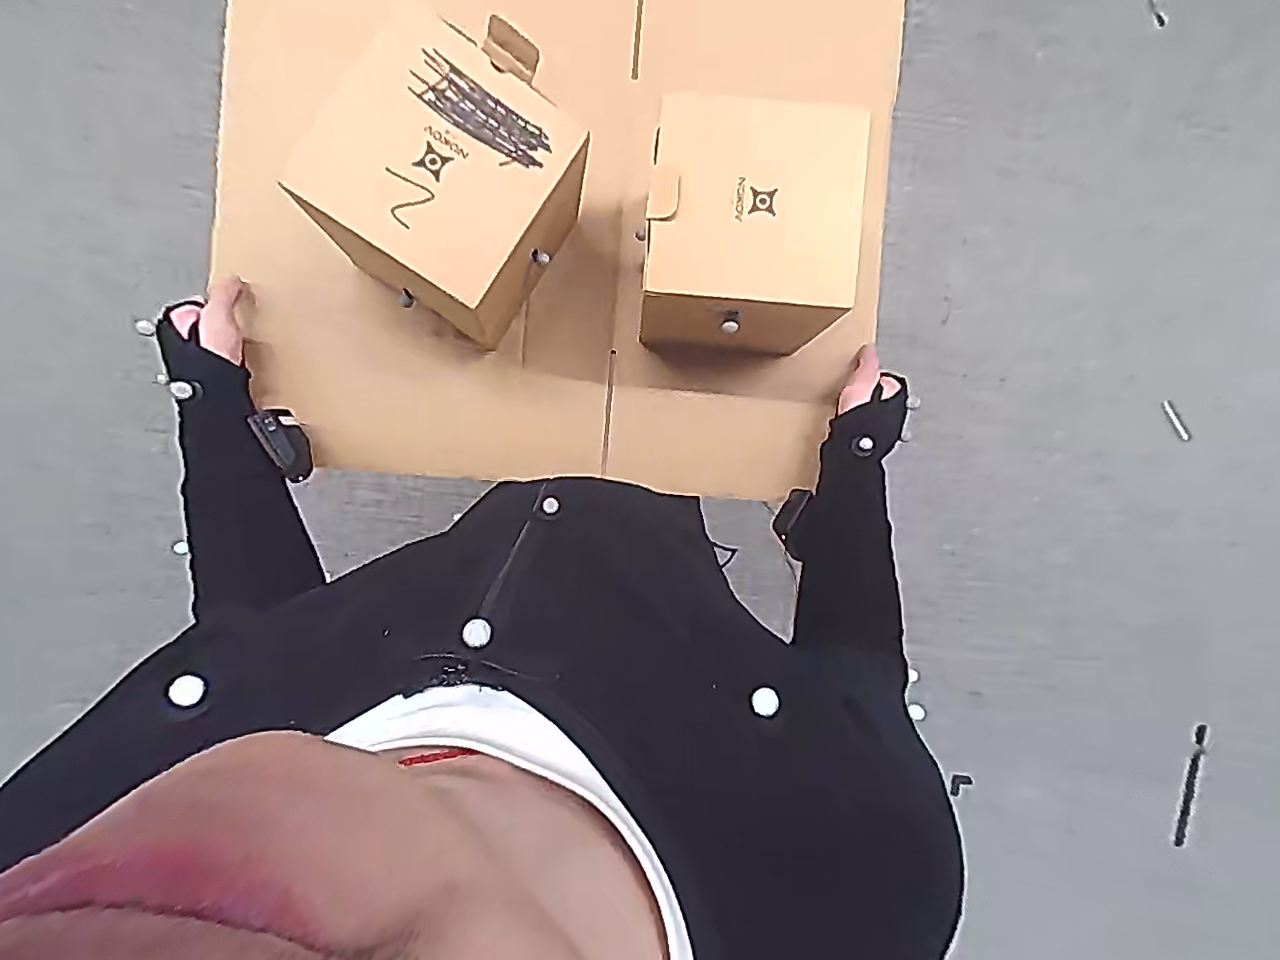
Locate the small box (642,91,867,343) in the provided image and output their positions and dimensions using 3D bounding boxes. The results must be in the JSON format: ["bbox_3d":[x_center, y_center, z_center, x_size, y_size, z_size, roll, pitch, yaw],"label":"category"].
[{"bbox_3d":[0.097,-0.237,0.533,0.179,0.176,0.168,5,91,0],"label":"small box"}]
